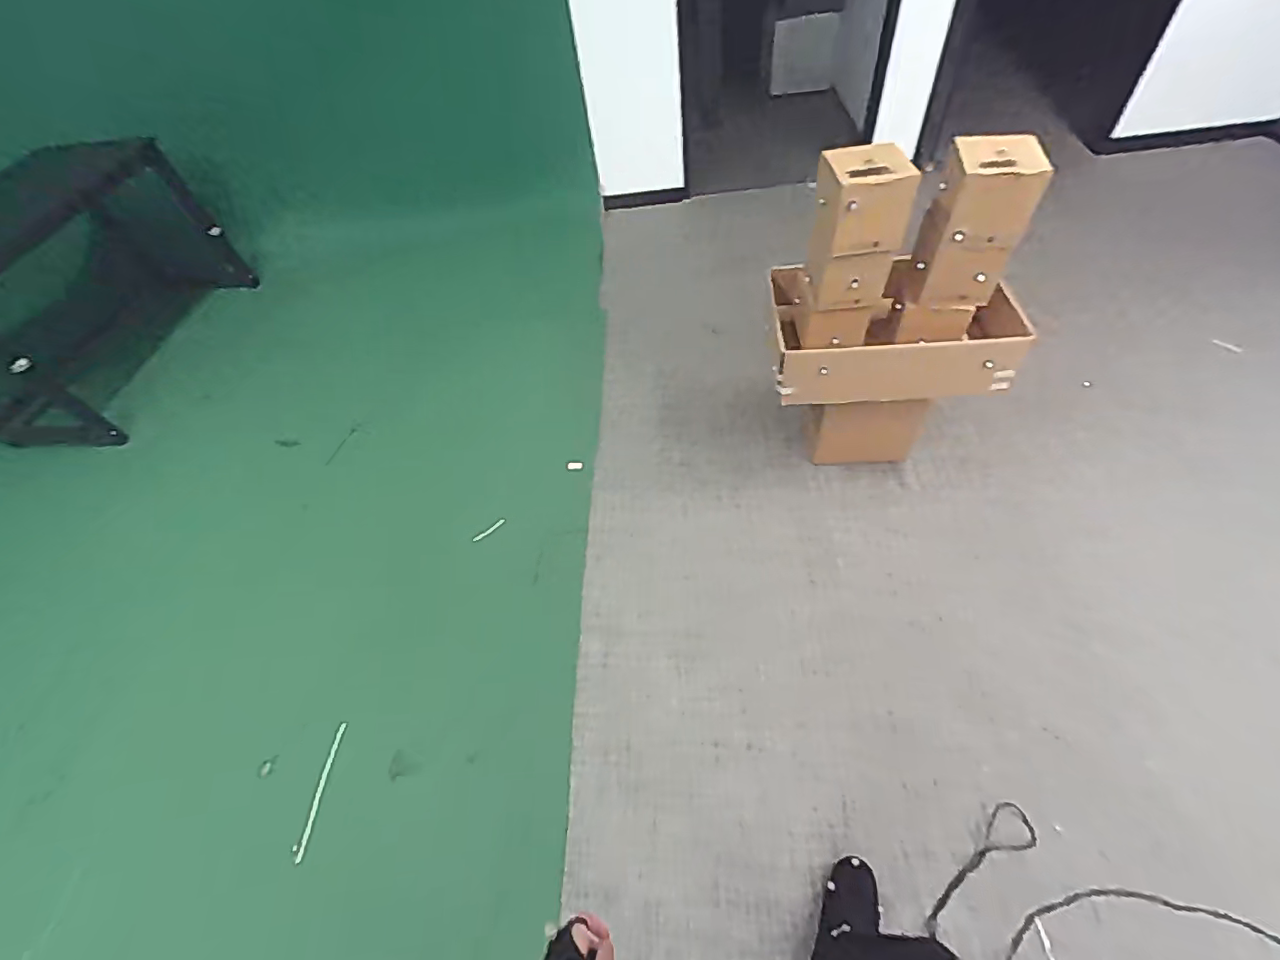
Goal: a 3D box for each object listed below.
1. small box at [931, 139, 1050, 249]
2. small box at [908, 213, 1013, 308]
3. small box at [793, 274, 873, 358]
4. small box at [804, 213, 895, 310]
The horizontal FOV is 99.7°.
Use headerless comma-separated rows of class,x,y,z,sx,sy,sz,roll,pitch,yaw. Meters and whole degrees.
small box,0.783,-0.646,1.229,0.168,0.176,0.179,6,54,11
small box,0.796,-0.551,1.362,0.168,0.176,0.179,3,54,9
small box,0.540,-0.471,1.538,0.168,0.176,0.179,-5,53,4
small box,0.532,-0.557,1.398,0.168,0.176,0.179,-4,54,3
